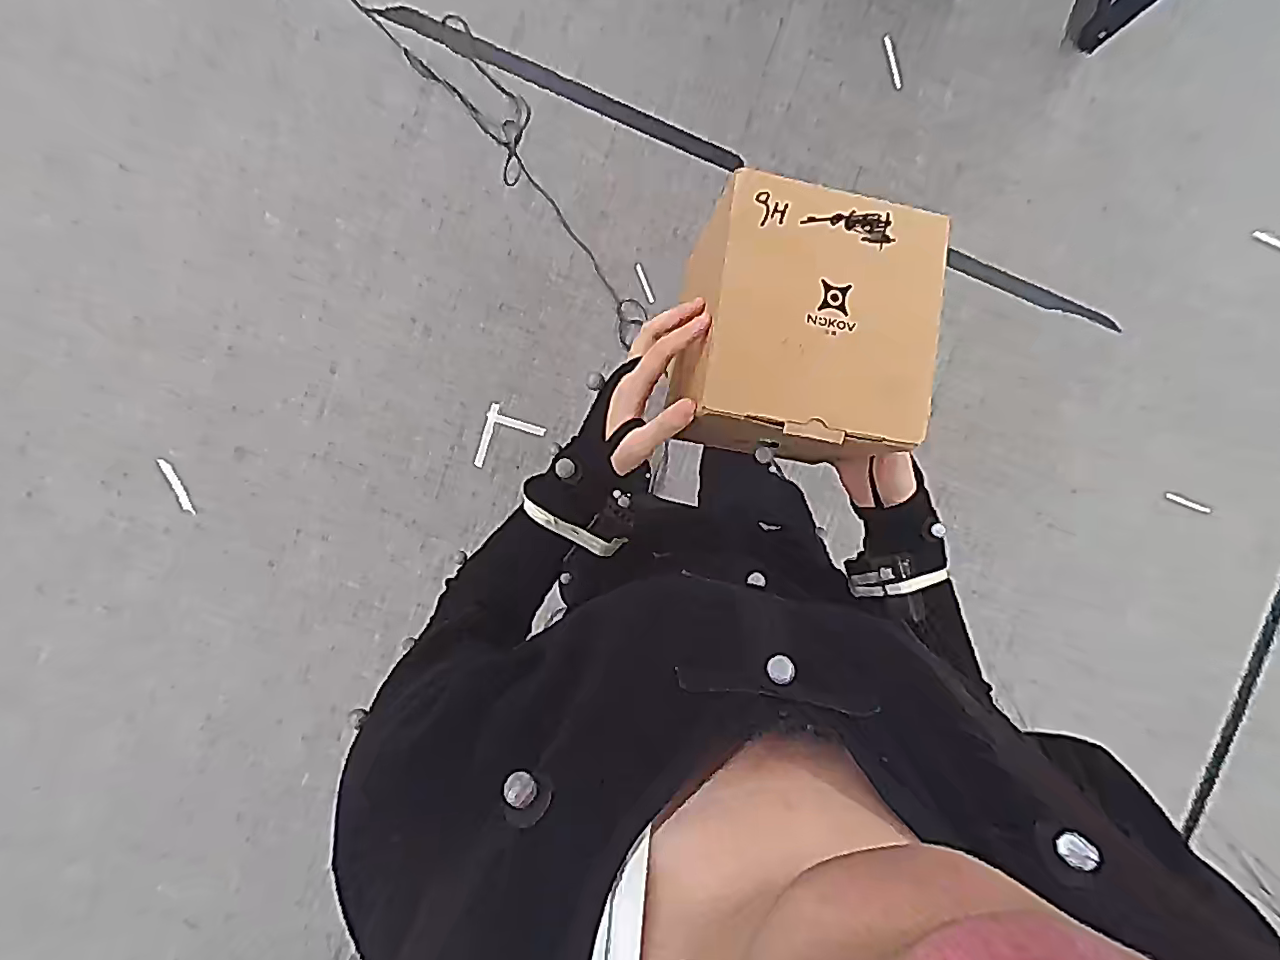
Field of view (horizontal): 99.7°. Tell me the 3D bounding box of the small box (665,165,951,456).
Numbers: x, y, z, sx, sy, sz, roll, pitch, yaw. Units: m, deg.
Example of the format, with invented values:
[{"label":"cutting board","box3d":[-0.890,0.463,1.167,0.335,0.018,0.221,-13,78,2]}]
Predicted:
[{"label":"small box","box3d":[0.123,-0.119,0.460,0.168,0.176,0.179,9,87,-8]}]
